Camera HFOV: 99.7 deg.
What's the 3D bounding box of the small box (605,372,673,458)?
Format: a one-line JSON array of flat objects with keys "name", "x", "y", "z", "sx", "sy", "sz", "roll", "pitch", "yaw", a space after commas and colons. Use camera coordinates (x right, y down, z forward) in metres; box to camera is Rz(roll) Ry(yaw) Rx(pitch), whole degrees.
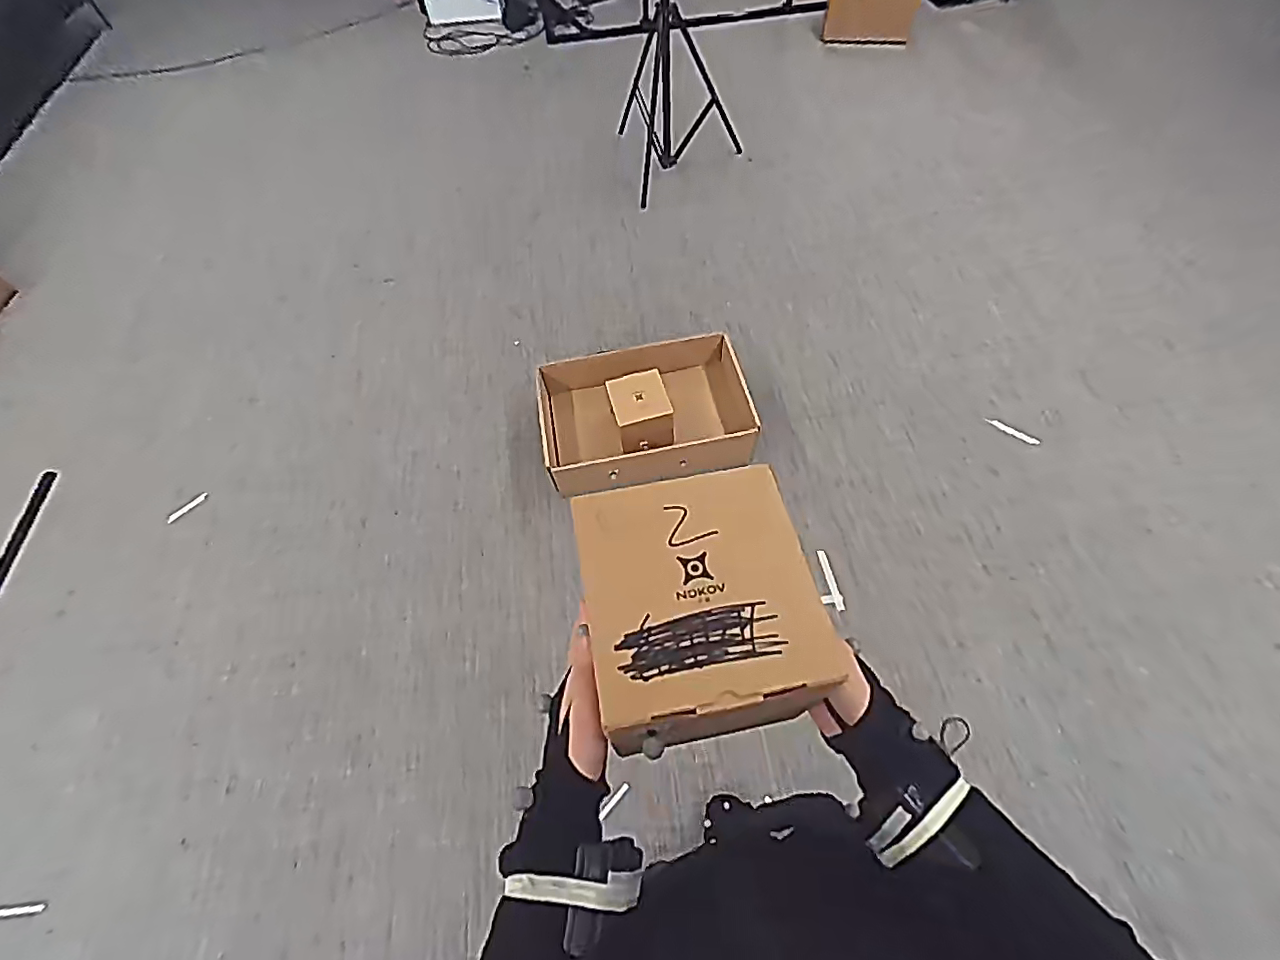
[{"name": "small box", "x": -0.002, "y": -0.195, "z": 1.648, "sx": 0.168, "sy": 0.176, "sz": 0.179, "roll": -16, "pitch": 61, "yaw": -5}]
